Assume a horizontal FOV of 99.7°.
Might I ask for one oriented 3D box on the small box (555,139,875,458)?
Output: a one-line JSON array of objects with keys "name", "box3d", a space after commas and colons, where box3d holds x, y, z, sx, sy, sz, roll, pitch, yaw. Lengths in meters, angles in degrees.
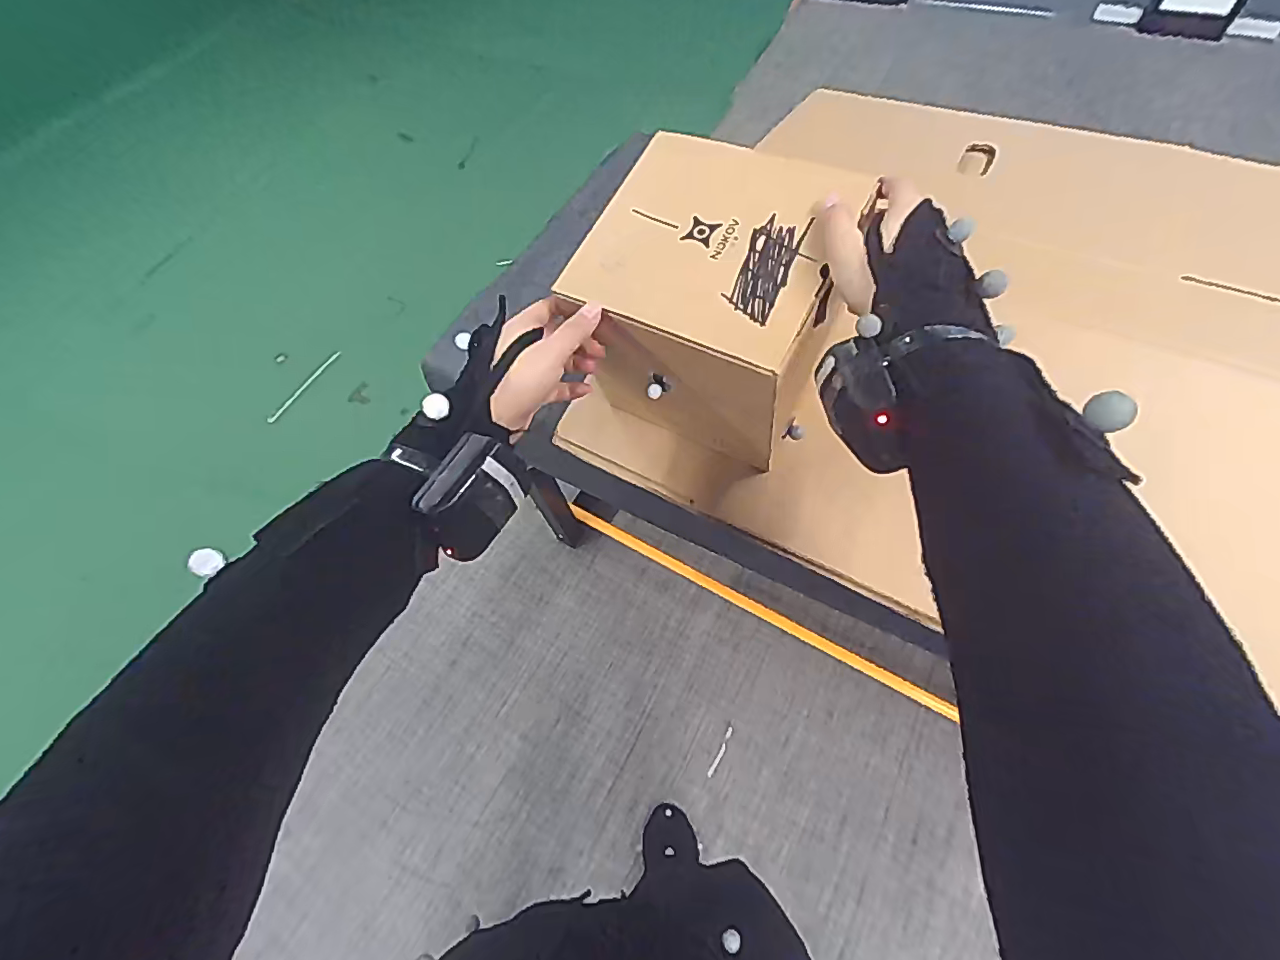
[{"name": "small box", "box3d": [0.065, -0.138, 0.454, 0.179, 0.176, 0.168, 25, 76, 20]}]
